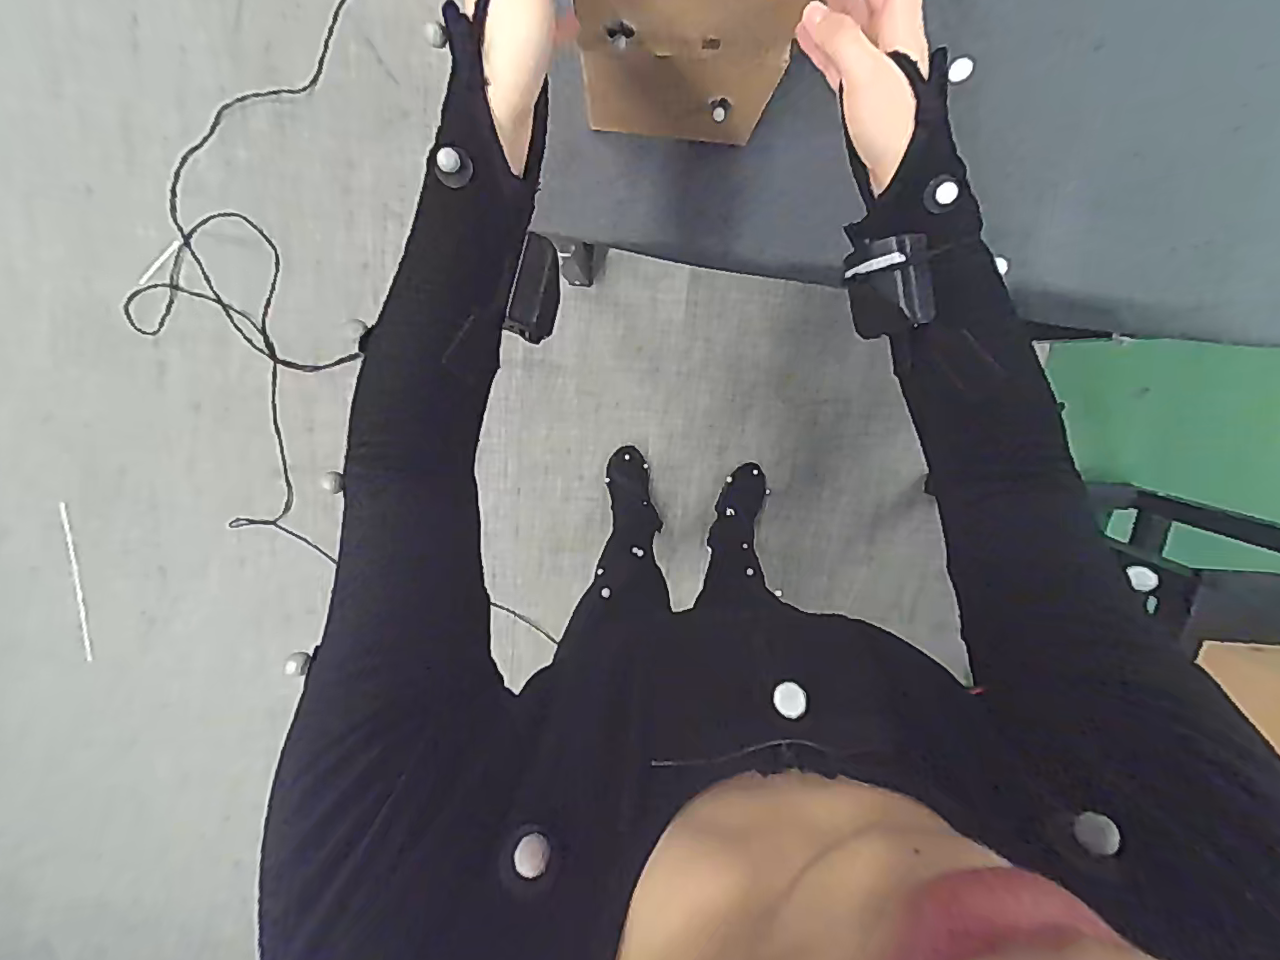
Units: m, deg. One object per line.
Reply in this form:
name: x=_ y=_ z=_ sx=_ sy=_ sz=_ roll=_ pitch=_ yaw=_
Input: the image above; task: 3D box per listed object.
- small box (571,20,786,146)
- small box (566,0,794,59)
small box: x=0.036 y=-0.440 z=0.508 sx=0.179 sy=0.176 sz=0.168 roll=4 pitch=100 yaw=-1
small box: x=0.030 y=-0.405 z=0.340 sx=0.168 sy=0.176 sz=0.179 roll=0 pitch=100 yaw=-2
